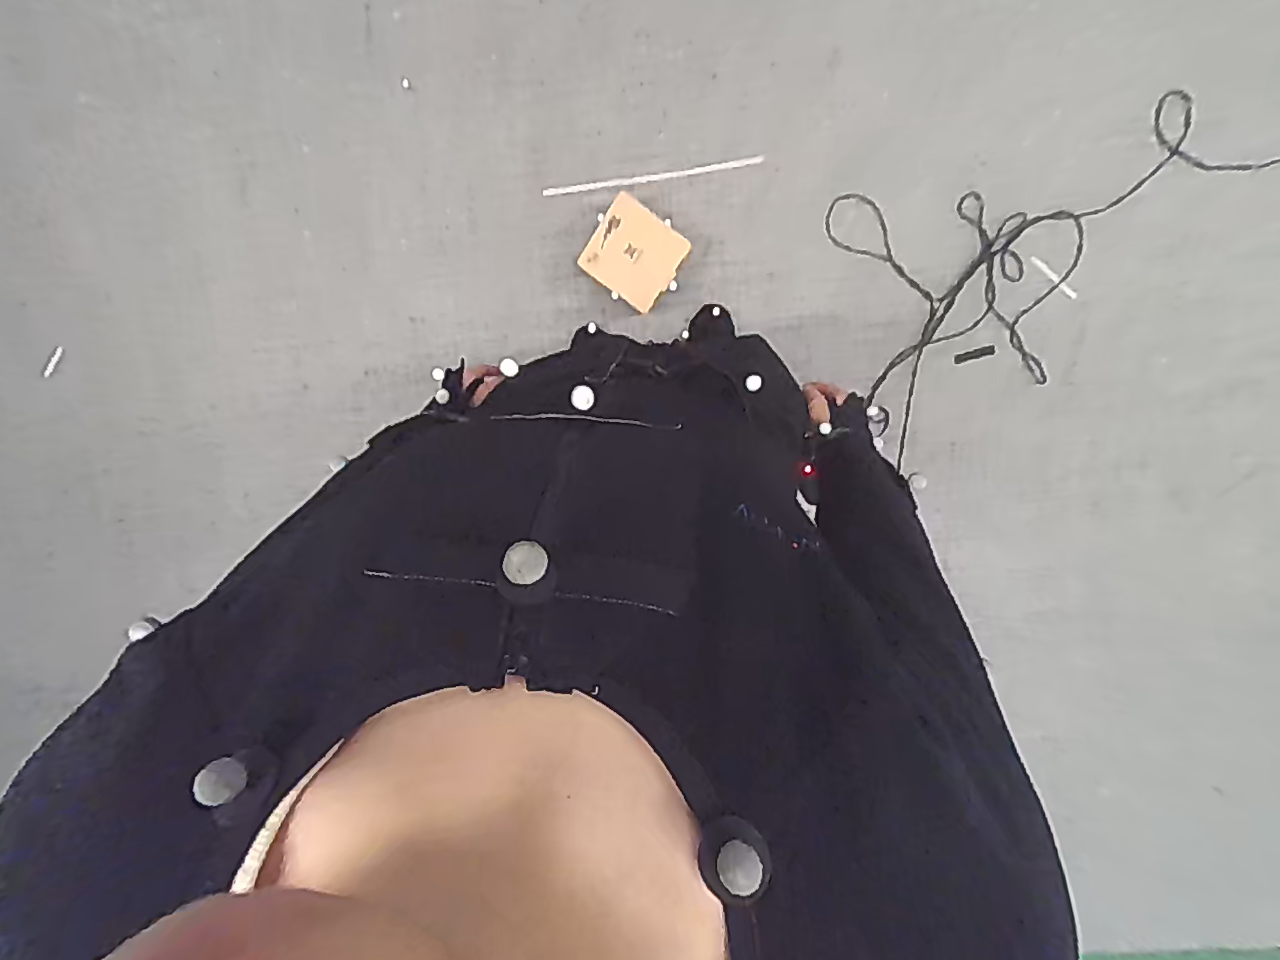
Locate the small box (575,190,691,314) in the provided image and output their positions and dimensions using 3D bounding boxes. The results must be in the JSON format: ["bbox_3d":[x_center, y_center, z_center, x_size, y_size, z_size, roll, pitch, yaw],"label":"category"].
[{"bbox_3d":[-0.010,-0.475,1.143,0.179,0.176,0.168,35,107,-9],"label":"small box"}]
